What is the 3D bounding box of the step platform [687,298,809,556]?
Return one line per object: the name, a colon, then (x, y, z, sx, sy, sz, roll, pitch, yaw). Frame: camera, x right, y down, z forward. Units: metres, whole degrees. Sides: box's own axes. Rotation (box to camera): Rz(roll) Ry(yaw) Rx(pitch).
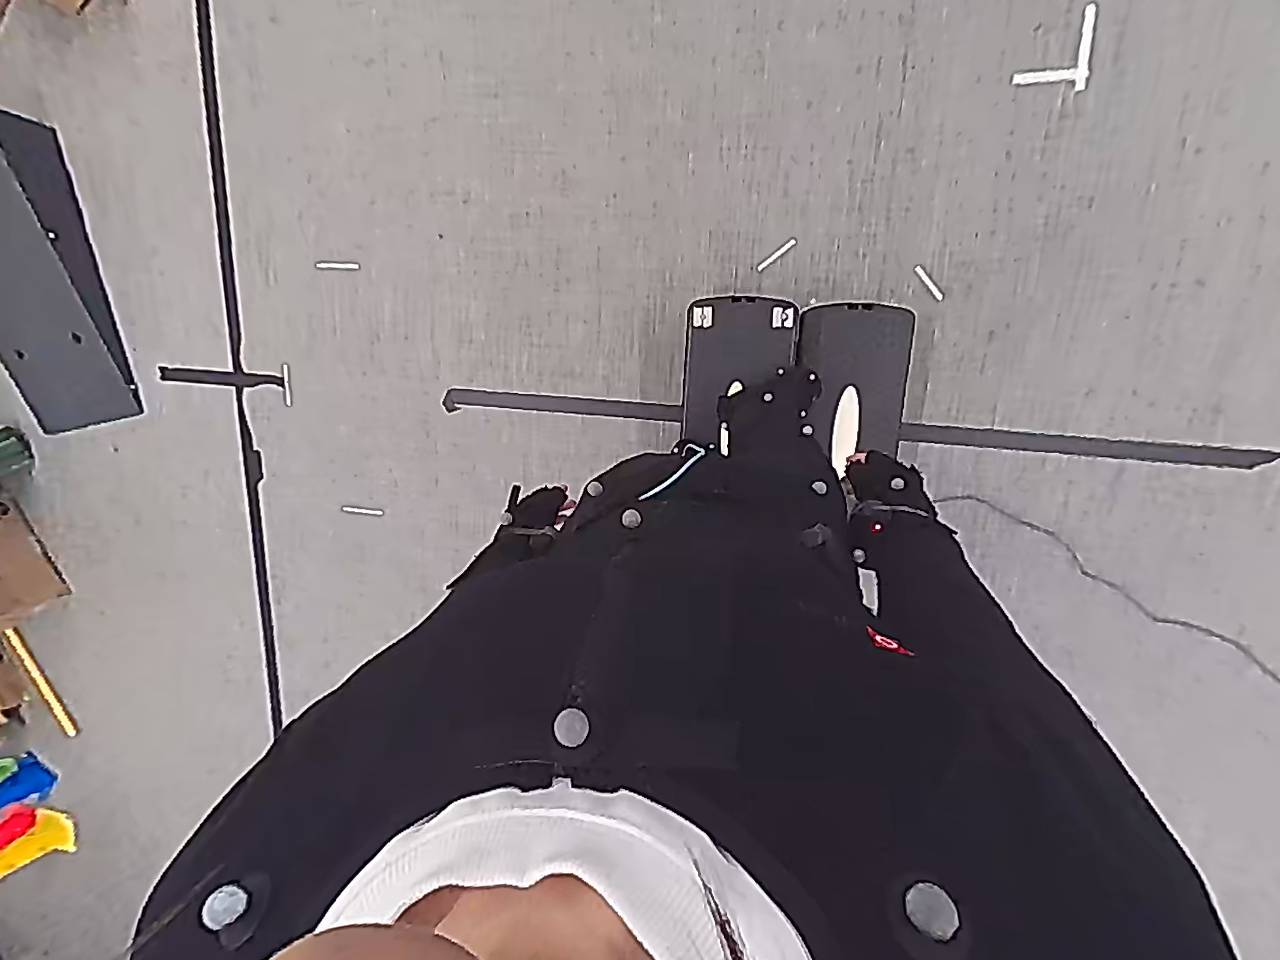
step platform: (0.285, -0.135, 1.472, 0.286, 0.204, 0.684, 4, 100, 10)
